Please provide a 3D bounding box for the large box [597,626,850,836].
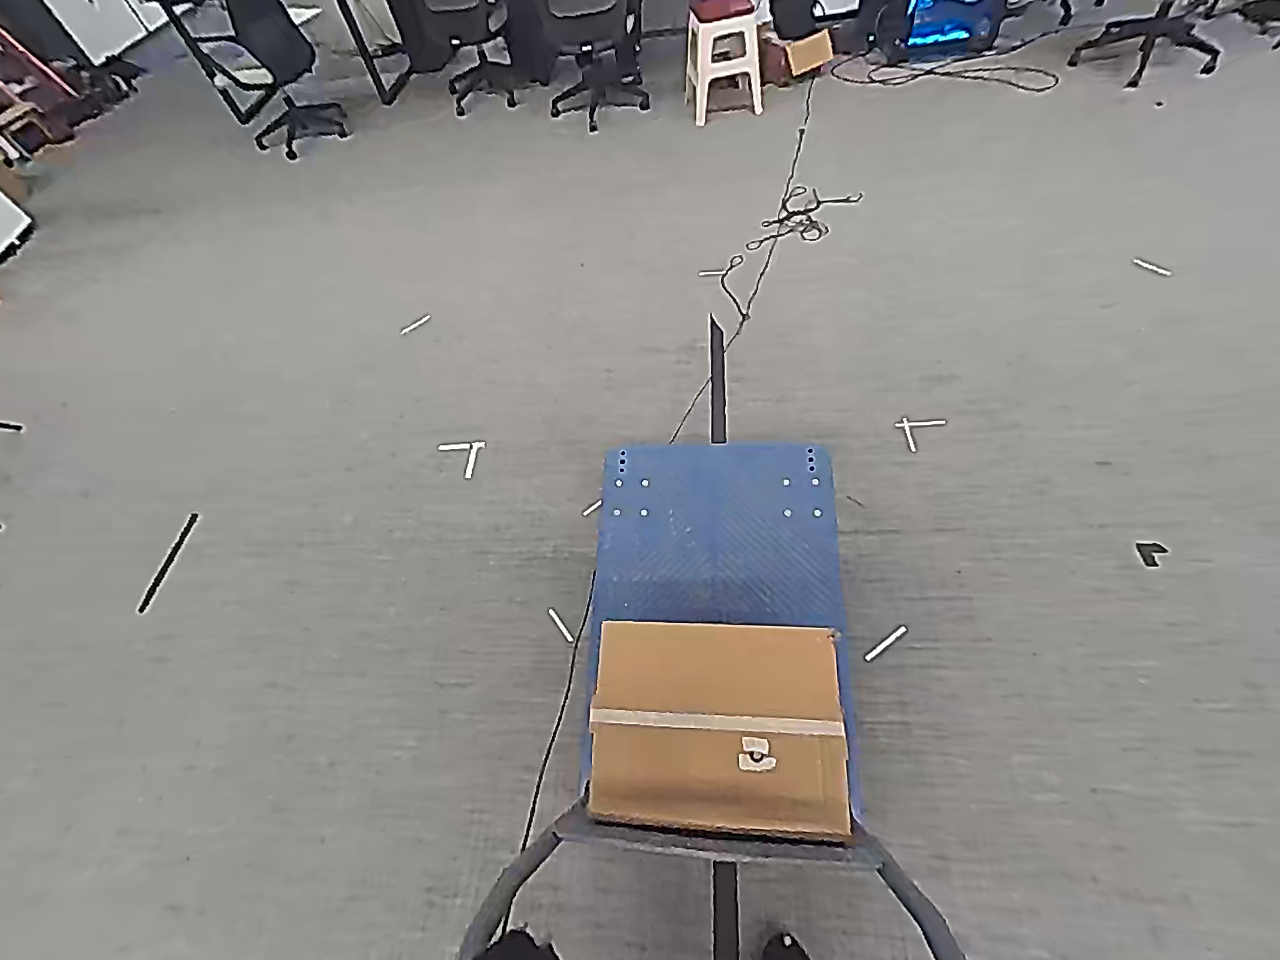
[{"bbox_3d":[0.147,0.464,1.042,0.408,0.320,0.320,0,68,7],"label":"large box"}]
